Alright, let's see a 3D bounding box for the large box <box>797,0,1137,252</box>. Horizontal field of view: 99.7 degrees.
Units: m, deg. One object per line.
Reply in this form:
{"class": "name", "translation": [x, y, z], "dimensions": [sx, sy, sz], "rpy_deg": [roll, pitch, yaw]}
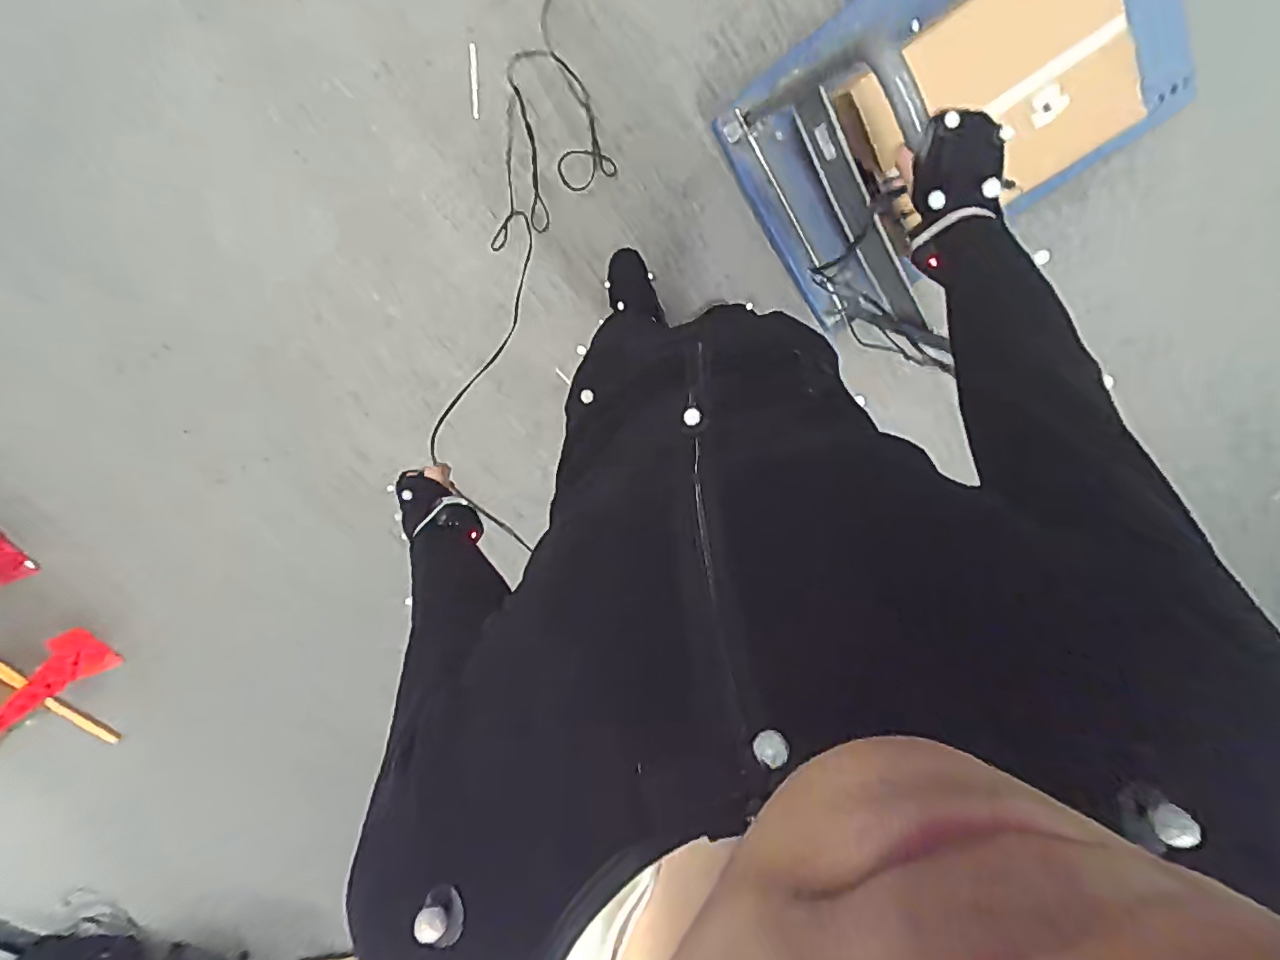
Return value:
{"class": "large box", "translation": [0.576, -0.691, 1.019], "dimensions": [0.408, 0.320, 0.320], "rpy_deg": [-31, 115, 13]}
